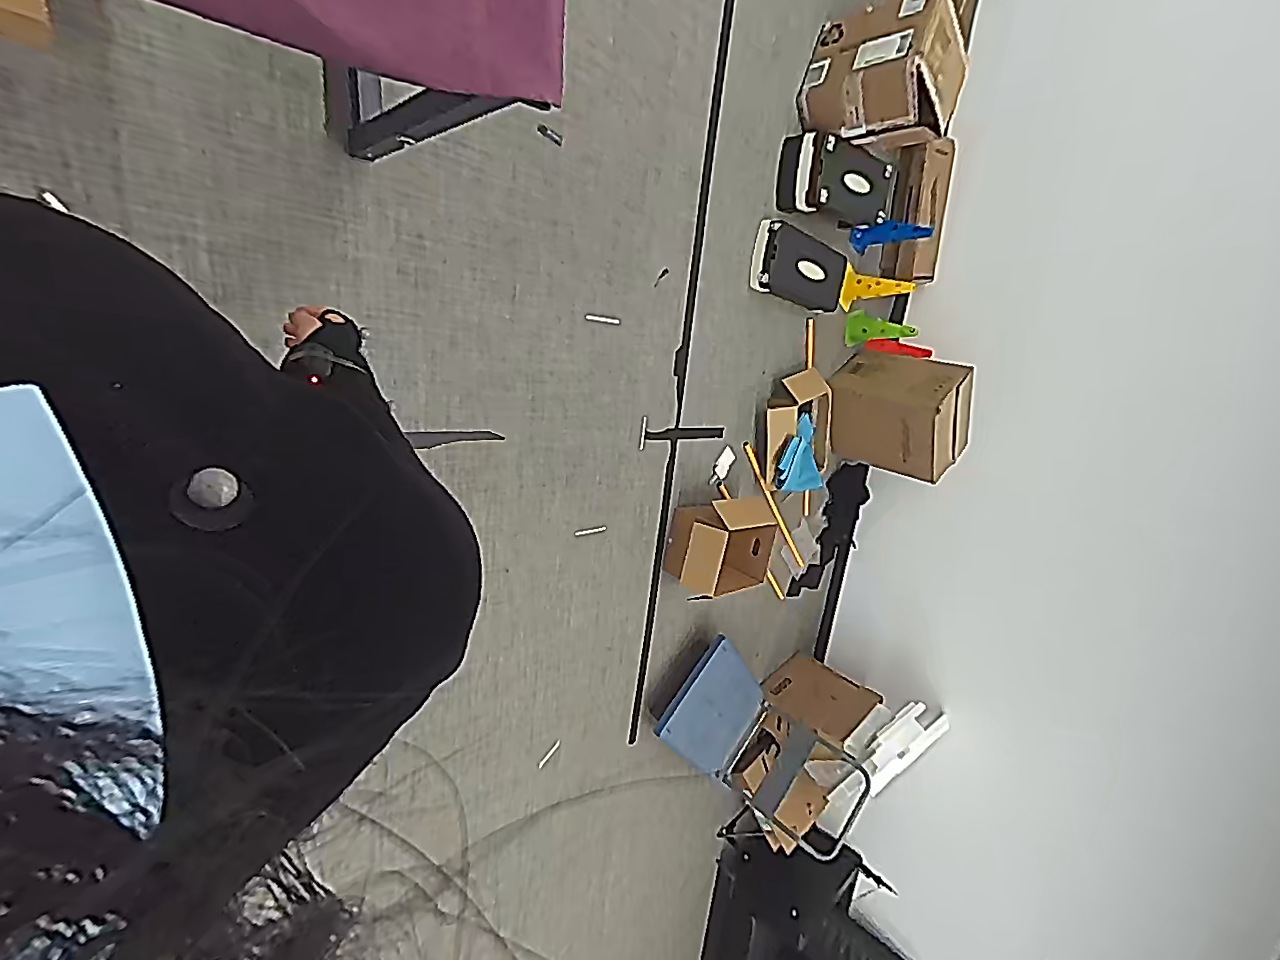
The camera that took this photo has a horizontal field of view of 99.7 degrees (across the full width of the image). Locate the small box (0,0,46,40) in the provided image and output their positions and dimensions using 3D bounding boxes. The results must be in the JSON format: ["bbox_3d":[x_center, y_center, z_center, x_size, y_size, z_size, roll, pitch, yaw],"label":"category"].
[{"bbox_3d":[-1.003,-0.795,0.791,0.168,0.176,0.179,-7,110,-45],"label":"small box"}]
